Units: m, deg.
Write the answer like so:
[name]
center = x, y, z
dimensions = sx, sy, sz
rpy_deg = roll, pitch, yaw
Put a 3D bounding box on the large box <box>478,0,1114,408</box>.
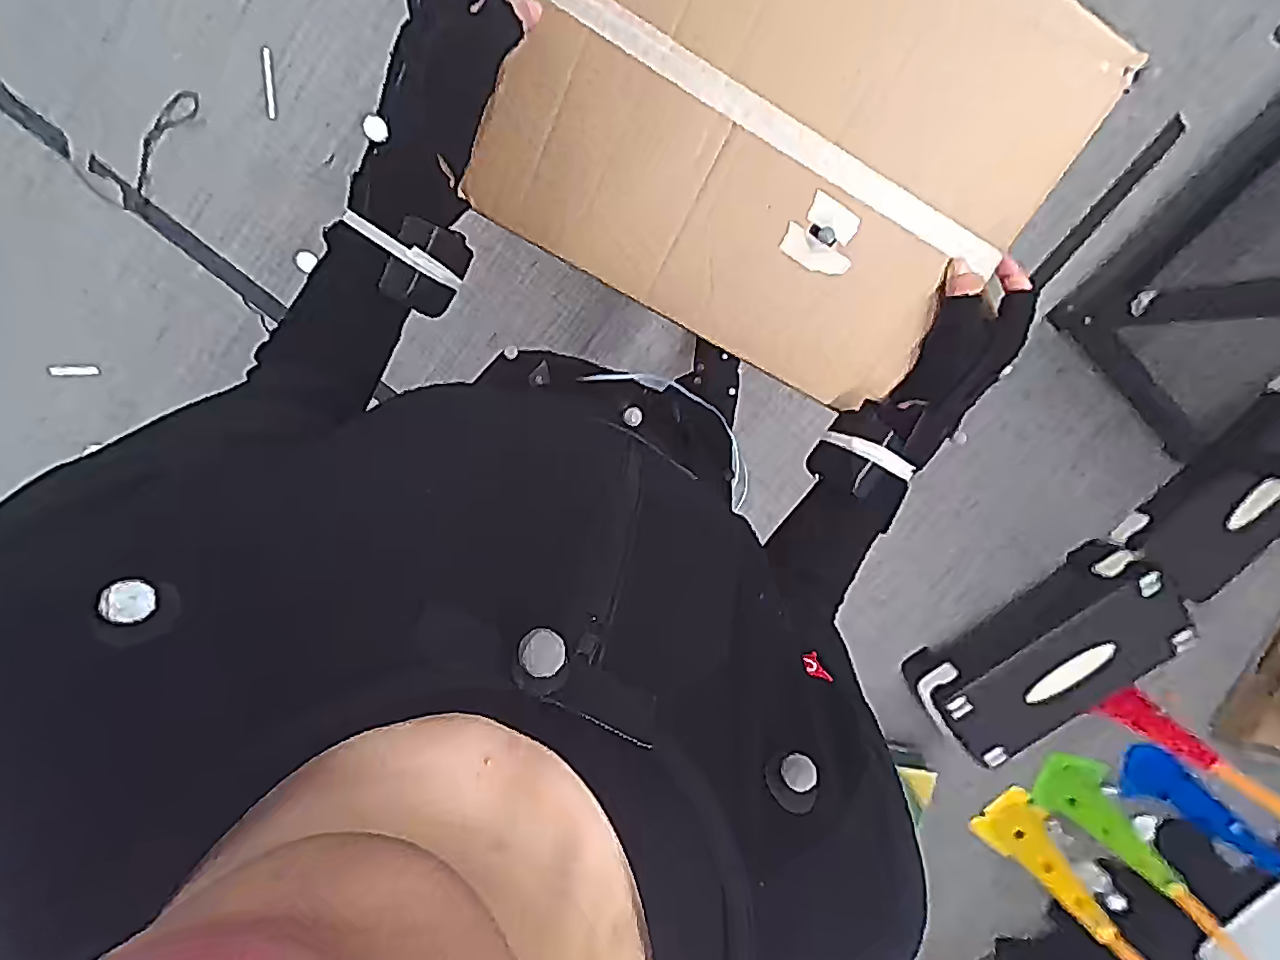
[large box]
center = 0.108, -0.329, 0.555
dimensions = 0.408, 0.320, 0.320
rpy_deg = 25, 113, -11
